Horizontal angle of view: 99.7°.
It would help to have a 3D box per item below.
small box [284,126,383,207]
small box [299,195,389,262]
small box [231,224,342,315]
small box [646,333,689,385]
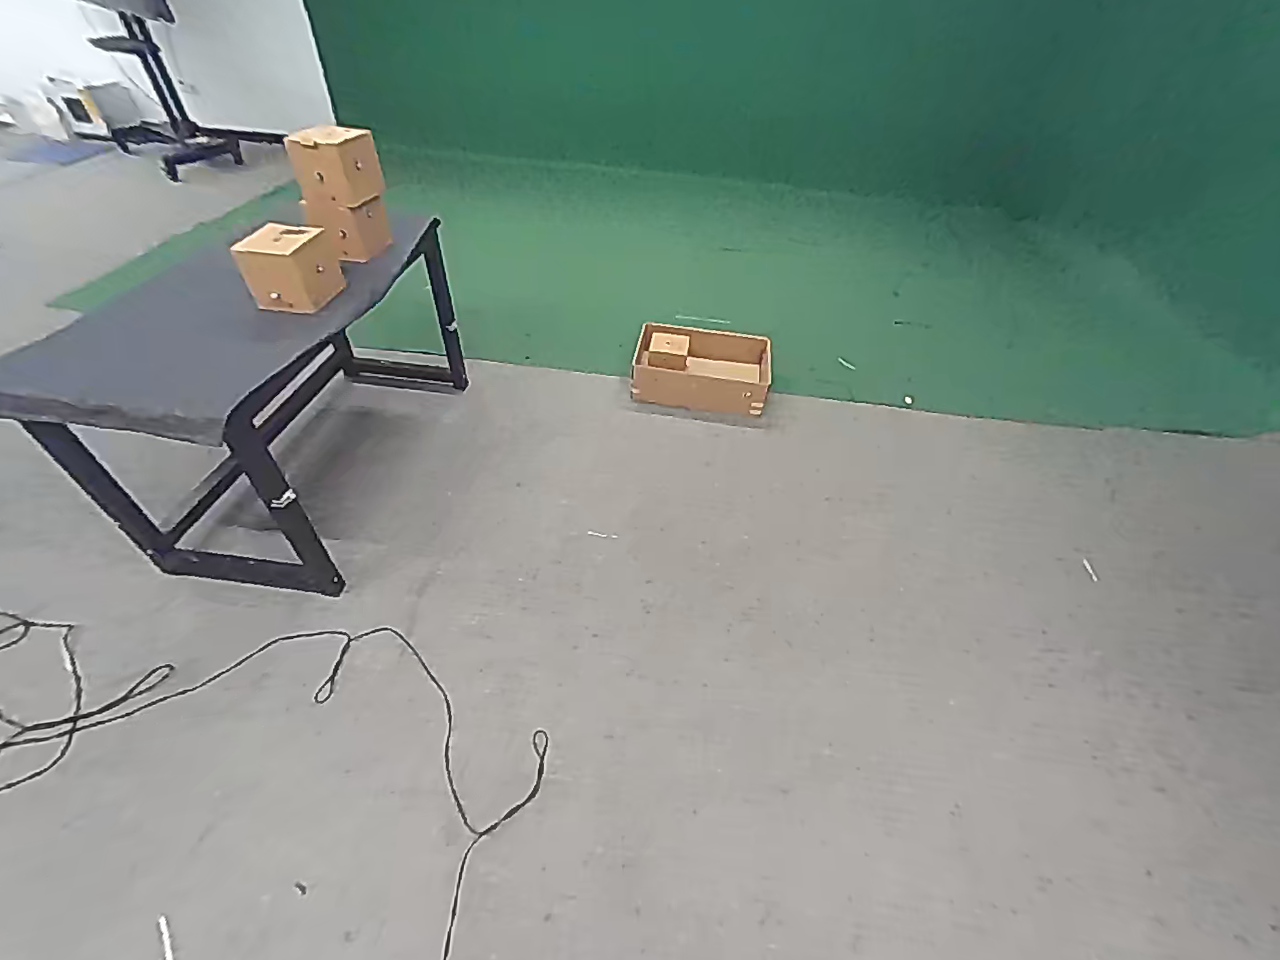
[{"bbox_3d":[-0.902,-0.934,1.612,0.168,0.176,0.179,11,46,7],"label":"small box"},{"bbox_3d":[-0.929,-0.812,1.720,0.168,0.176,0.179,10,44,5],"label":"small box"},{"bbox_3d":[-0.950,-0.575,1.477,0.168,0.176,0.179,6,46,4],"label":"small box"},{"bbox_3d":[0.124,-0.563,2.518,0.179,0.176,0.168,9,46,3],"label":"small box"}]
